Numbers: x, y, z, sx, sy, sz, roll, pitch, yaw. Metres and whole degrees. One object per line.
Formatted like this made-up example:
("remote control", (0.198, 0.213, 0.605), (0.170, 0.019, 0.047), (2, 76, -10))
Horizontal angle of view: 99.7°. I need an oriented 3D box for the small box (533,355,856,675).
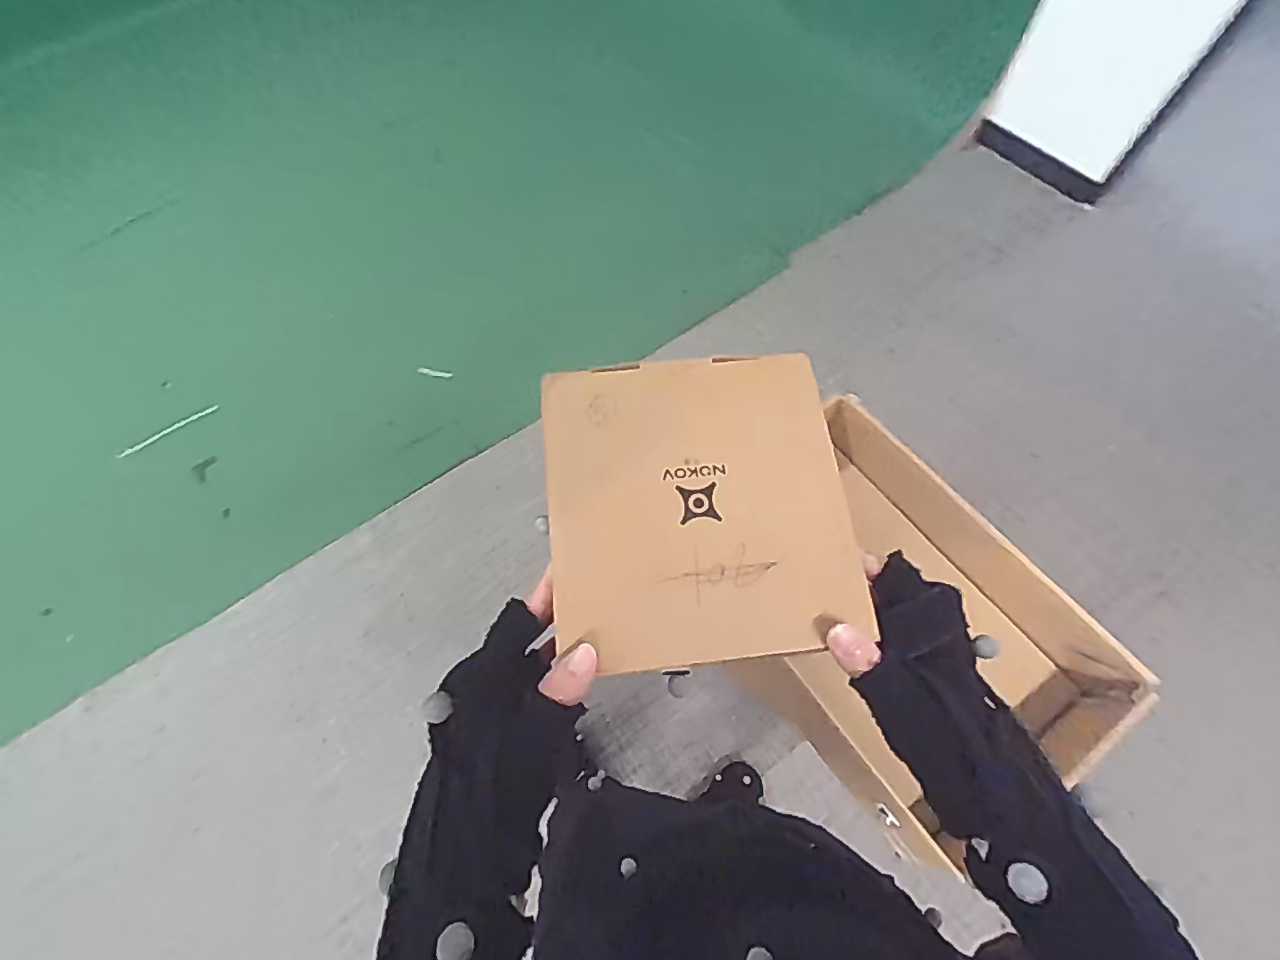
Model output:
("small box", (0.021, 0.036, 0.379), (0.168, 0.176, 0.179), (-6, 71, -3))
